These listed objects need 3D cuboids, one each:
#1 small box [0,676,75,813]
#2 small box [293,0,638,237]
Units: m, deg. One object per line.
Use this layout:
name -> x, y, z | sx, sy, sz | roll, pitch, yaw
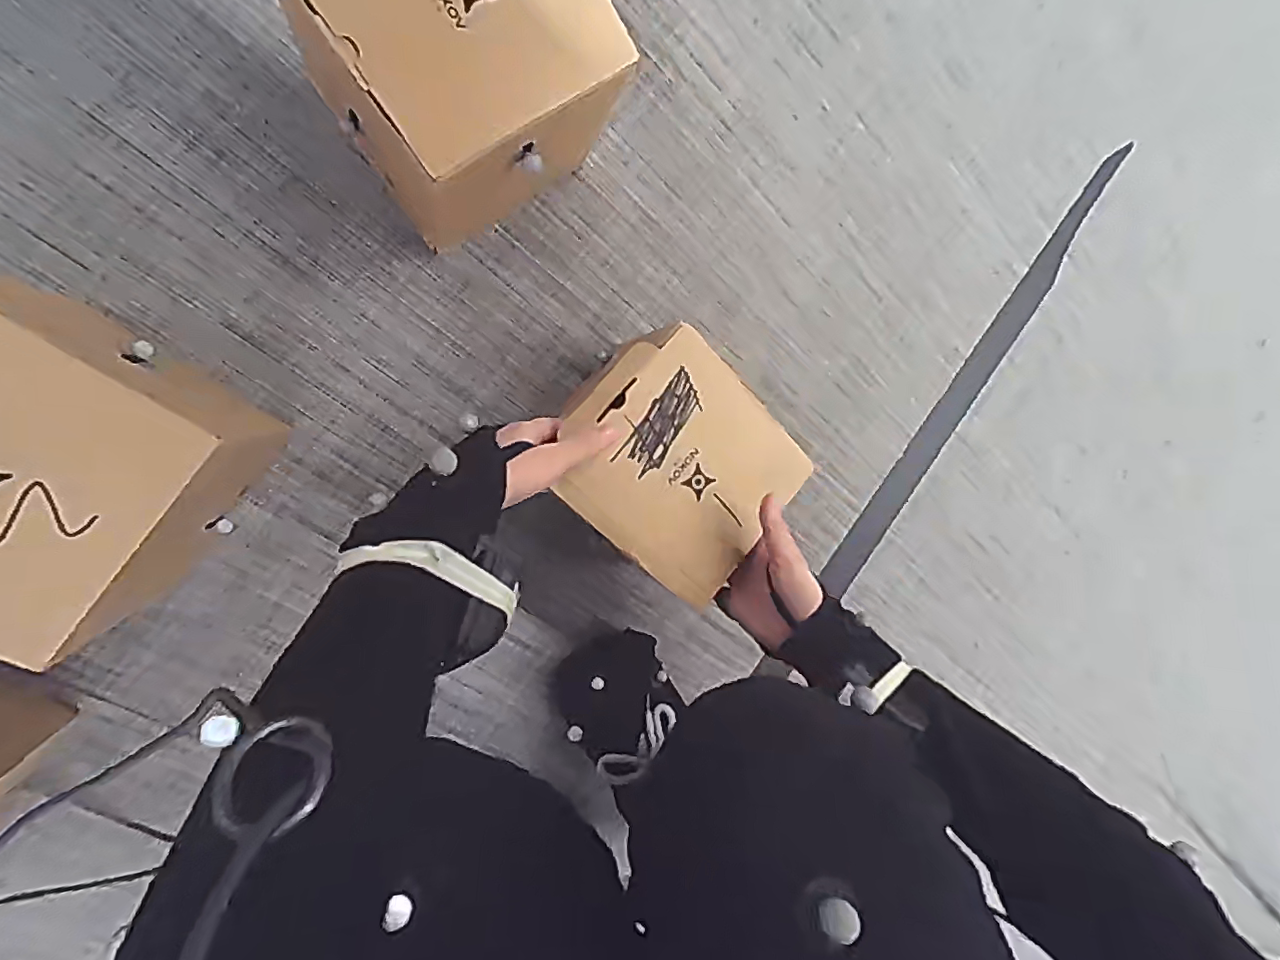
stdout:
small box -> -0.544, 0.211, 0.334 | 0.179, 0.176, 0.168 | 40, 83, -18
small box -> -0.135, -0.319, 0.410 | 0.179, 0.176, 0.168 | -38, 108, -10
